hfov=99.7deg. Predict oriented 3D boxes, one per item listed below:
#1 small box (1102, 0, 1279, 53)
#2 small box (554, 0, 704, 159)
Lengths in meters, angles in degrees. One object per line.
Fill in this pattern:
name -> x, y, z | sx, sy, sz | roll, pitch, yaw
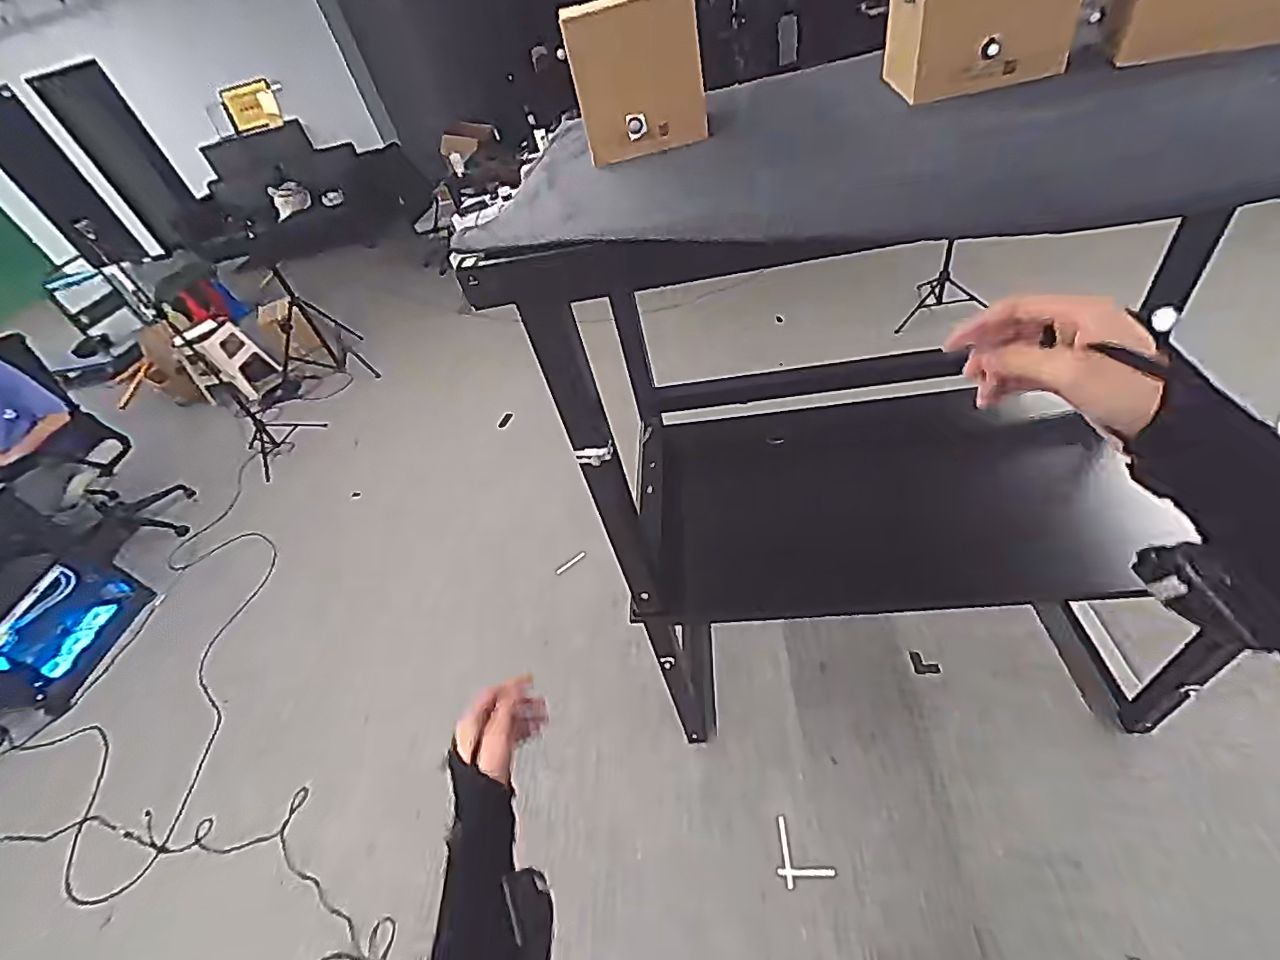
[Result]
small box -> 0.619, -0.569, 0.559 | 0.179, 0.176, 0.168 | 6, 48, 21
small box -> -0.014, -0.568, 0.746 | 0.168, 0.176, 0.179 | -13, 44, 4
